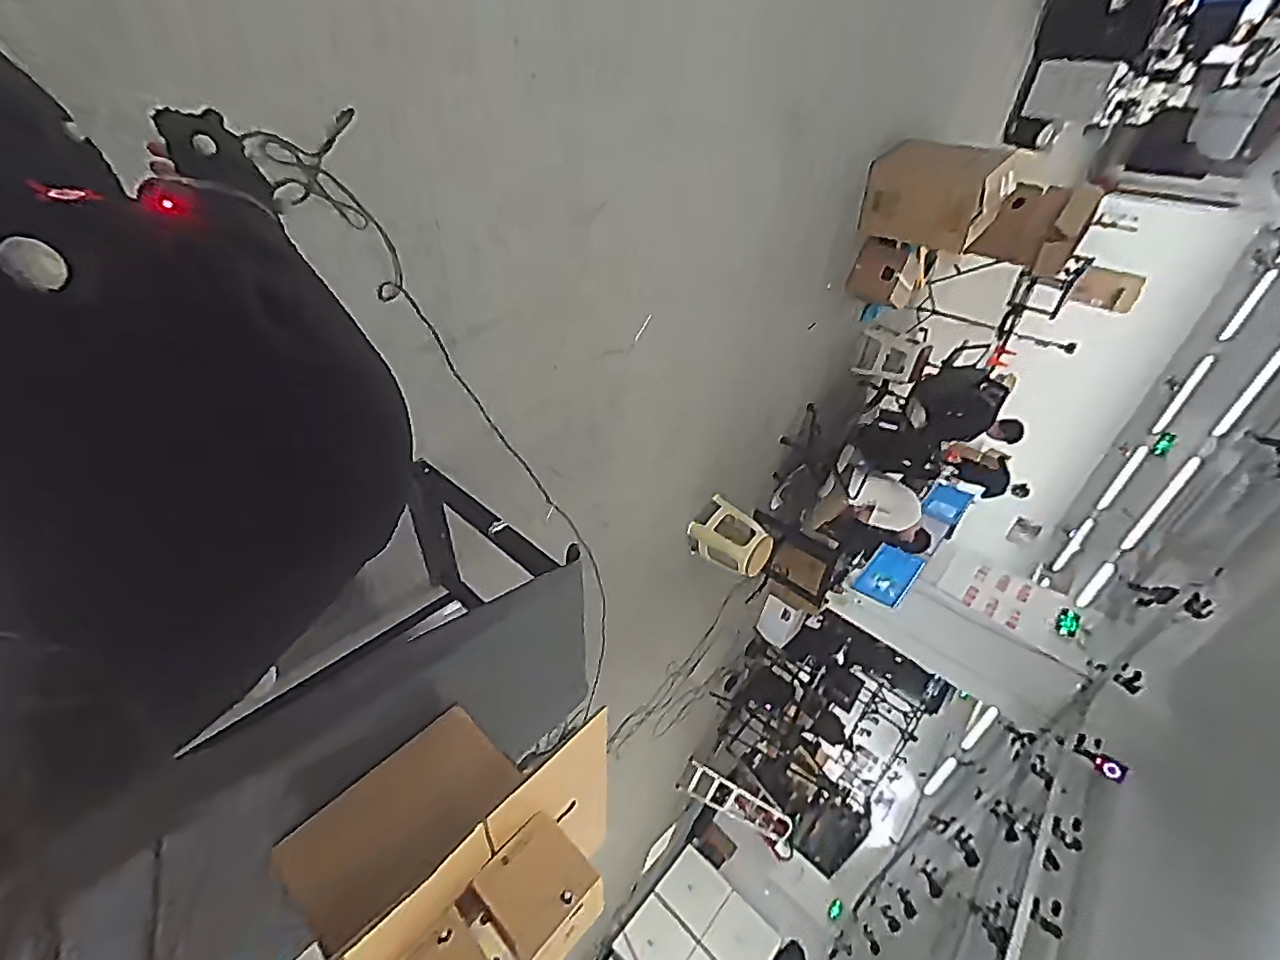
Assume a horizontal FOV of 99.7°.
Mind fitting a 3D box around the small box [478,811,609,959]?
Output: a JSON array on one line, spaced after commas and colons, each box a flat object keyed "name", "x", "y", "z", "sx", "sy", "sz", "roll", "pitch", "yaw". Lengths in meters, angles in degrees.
[{"name": "small box", "x": -0.176, "y": 0.760, "z": 0.999, "sx": 0.168, "sy": 0.176, "sz": 0.179, "roll": -33, "pitch": 139, "yaw": -39}]
